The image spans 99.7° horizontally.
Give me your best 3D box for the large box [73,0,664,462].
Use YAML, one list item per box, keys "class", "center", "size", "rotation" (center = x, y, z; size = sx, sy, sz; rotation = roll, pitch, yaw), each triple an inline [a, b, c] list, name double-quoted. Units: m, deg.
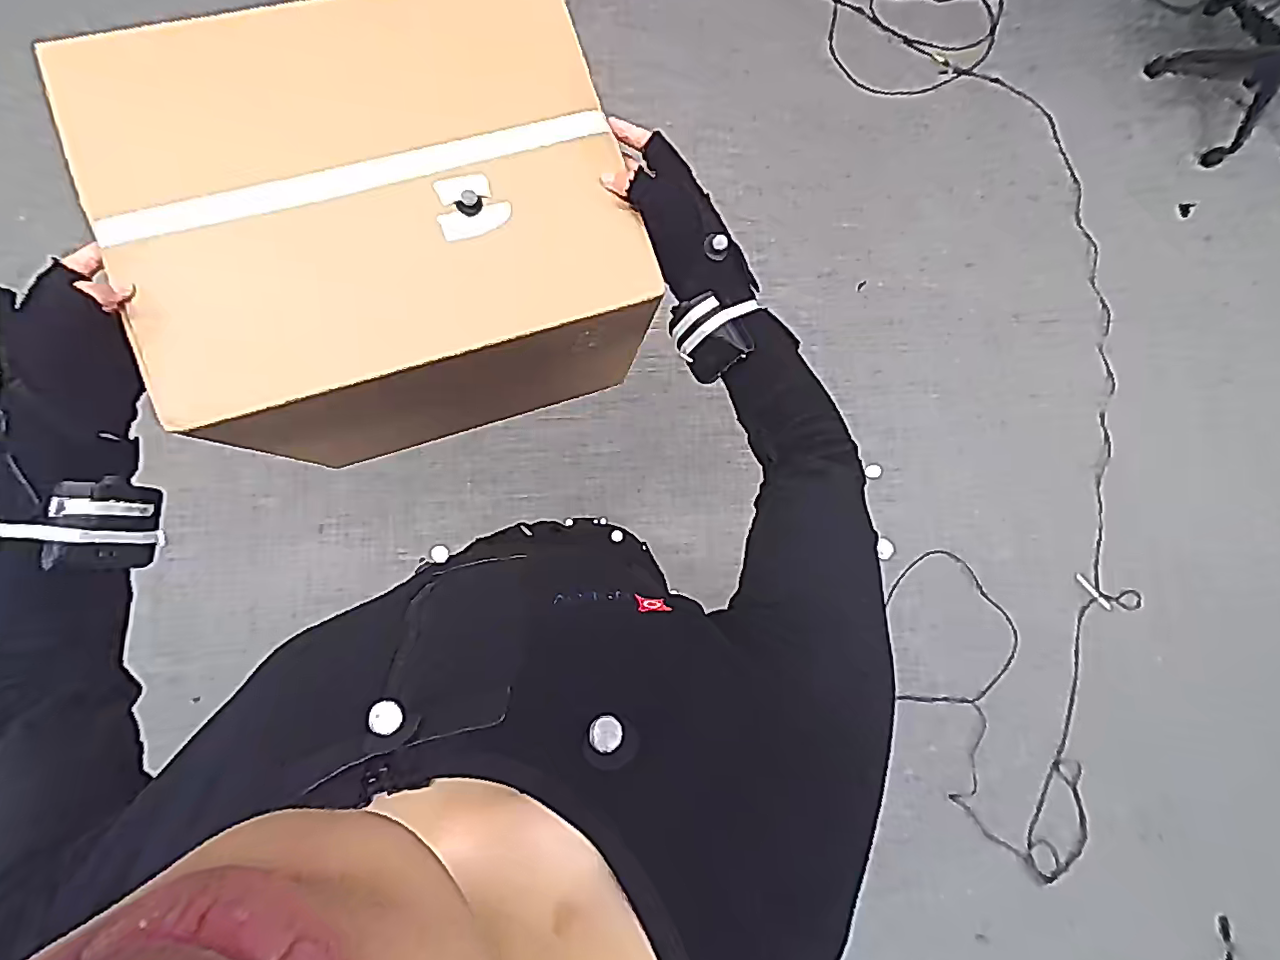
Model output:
- class: "large box"
  center: [-0.234, -0.241, 0.597]
  size: [0.408, 0.320, 0.320]
  rotation: [-20, 90, -10]
